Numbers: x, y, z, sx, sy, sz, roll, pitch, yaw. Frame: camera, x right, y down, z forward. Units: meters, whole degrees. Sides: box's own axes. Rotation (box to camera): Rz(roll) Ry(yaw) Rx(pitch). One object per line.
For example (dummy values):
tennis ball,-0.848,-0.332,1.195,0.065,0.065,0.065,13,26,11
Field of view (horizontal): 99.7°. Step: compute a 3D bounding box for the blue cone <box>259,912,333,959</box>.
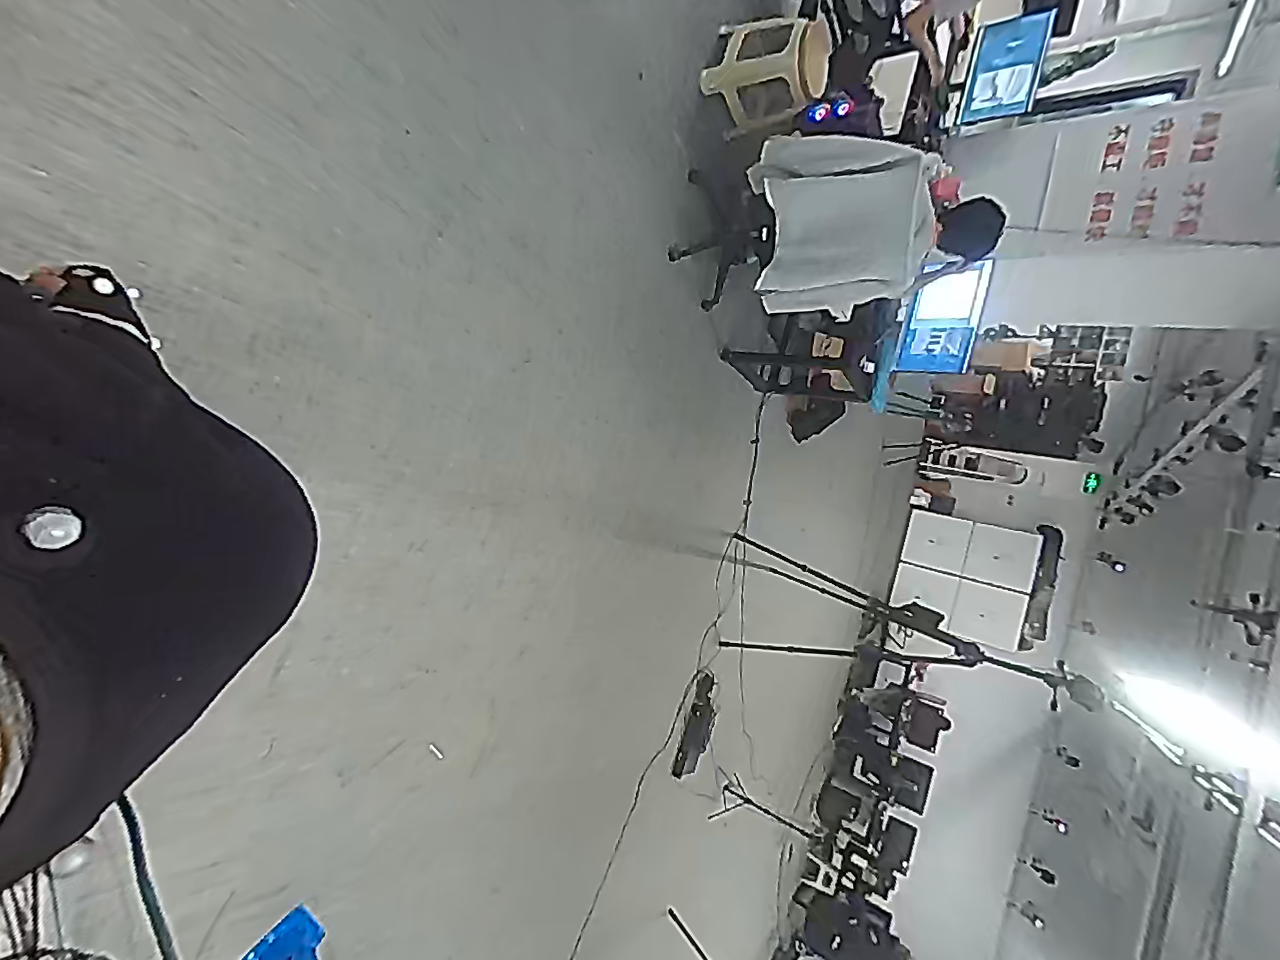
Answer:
blue cone,-0.915,1.460,1.544,0.193,0.380,0.192,-41,131,-43
